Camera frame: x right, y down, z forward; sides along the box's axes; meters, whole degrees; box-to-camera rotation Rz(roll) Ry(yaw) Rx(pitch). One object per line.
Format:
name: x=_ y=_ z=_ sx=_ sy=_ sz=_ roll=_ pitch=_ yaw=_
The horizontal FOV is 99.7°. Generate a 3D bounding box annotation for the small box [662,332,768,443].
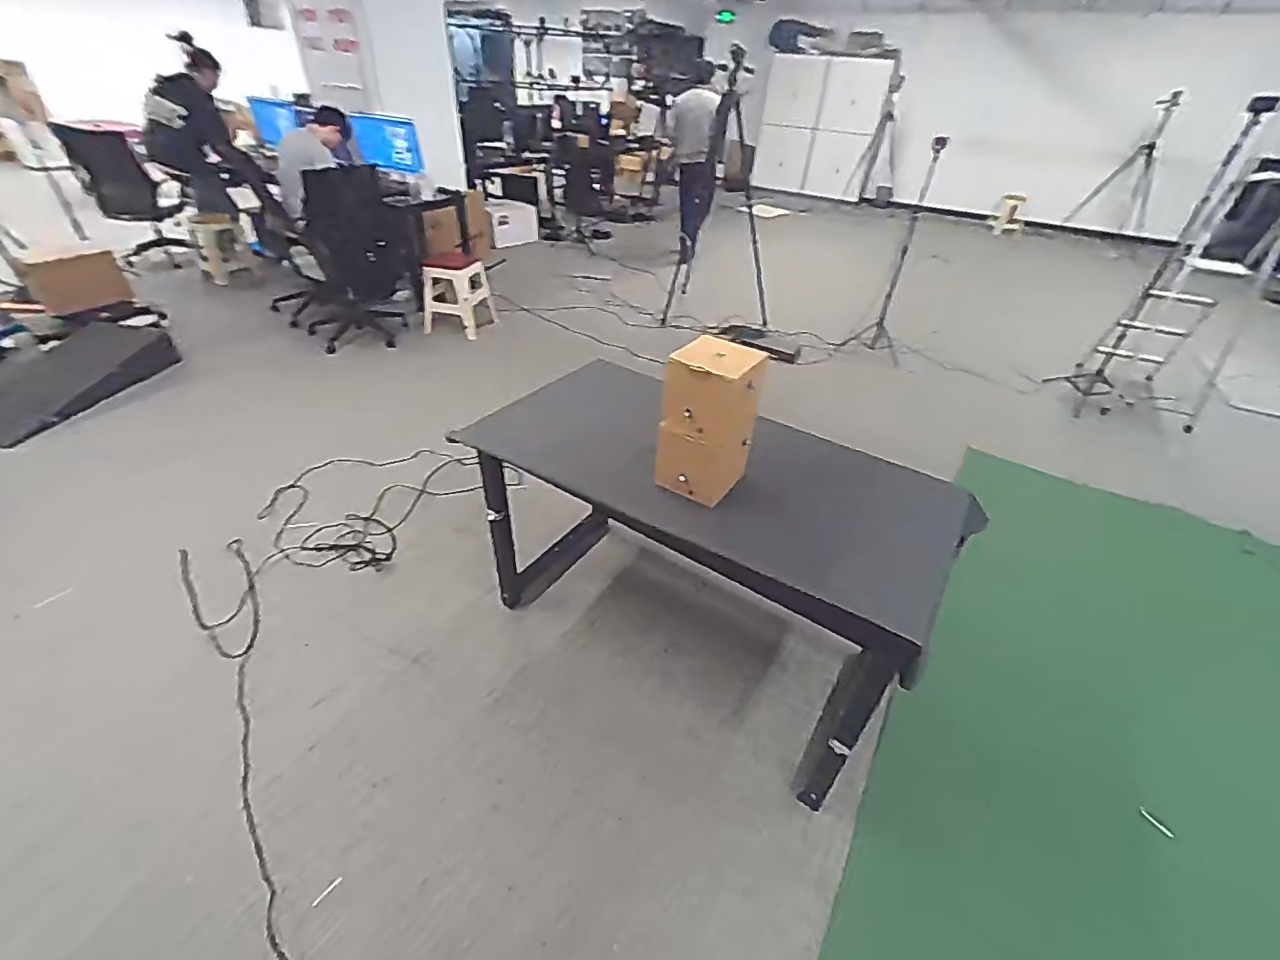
small box: x=0.163 y=-0.209 z=1.215 sx=0.168 sy=0.176 sz=0.179 roll=25 pitch=41 yaw=24

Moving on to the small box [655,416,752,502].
small box: x=0.148 y=-0.077 z=1.308 sx=0.168 sy=0.176 sz=0.179 roll=24 pitch=41 yaw=25
